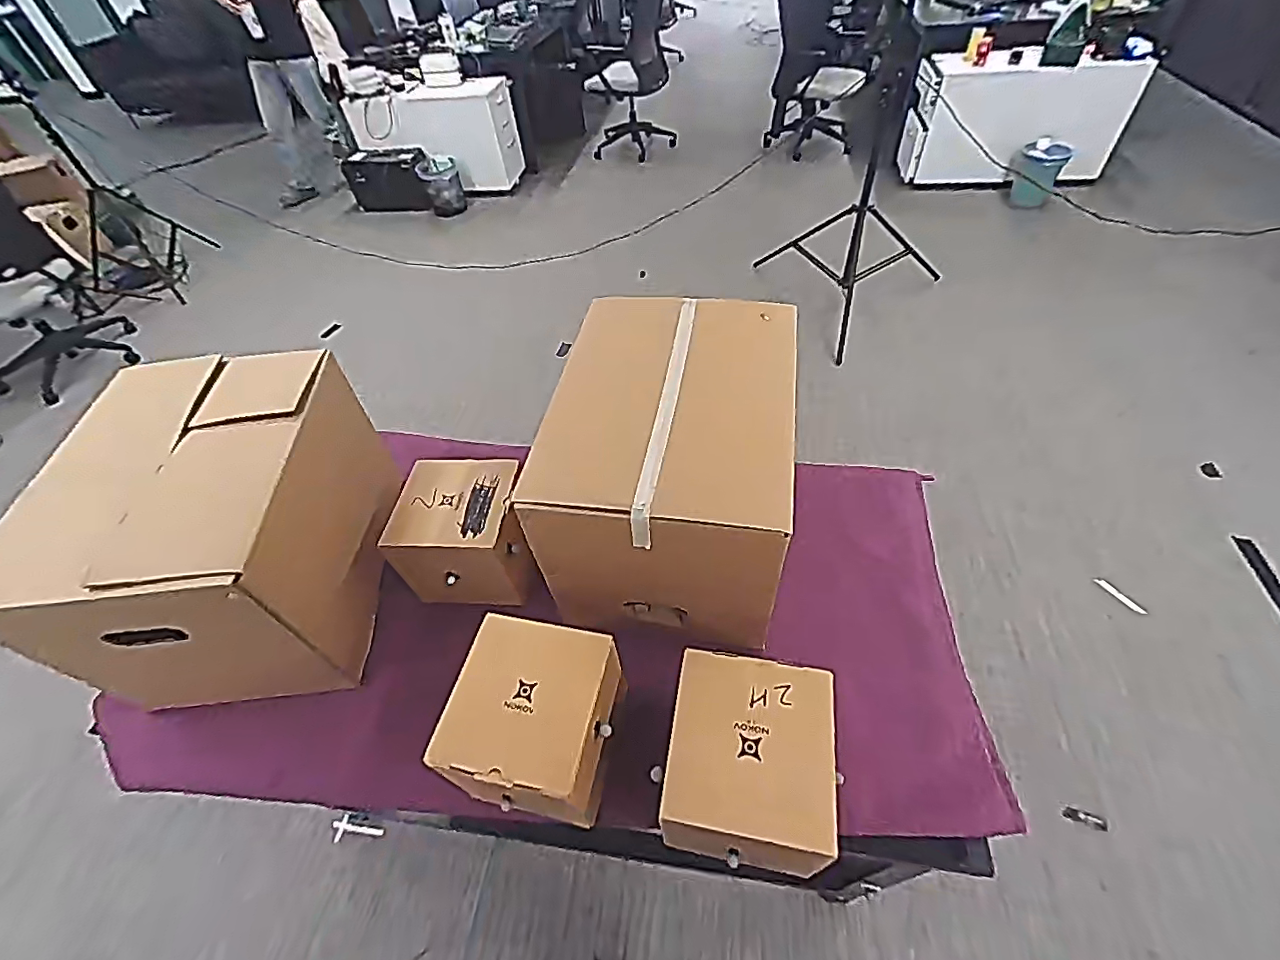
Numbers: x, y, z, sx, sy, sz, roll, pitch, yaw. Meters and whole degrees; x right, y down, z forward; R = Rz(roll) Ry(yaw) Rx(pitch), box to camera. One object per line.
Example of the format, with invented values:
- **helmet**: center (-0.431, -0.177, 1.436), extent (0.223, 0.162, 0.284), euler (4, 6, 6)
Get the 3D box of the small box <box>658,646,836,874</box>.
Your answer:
- **small box**: center (0.119, 0.315, 0.606), extent (0.168, 0.176, 0.179), euler (6, 49, 11)
